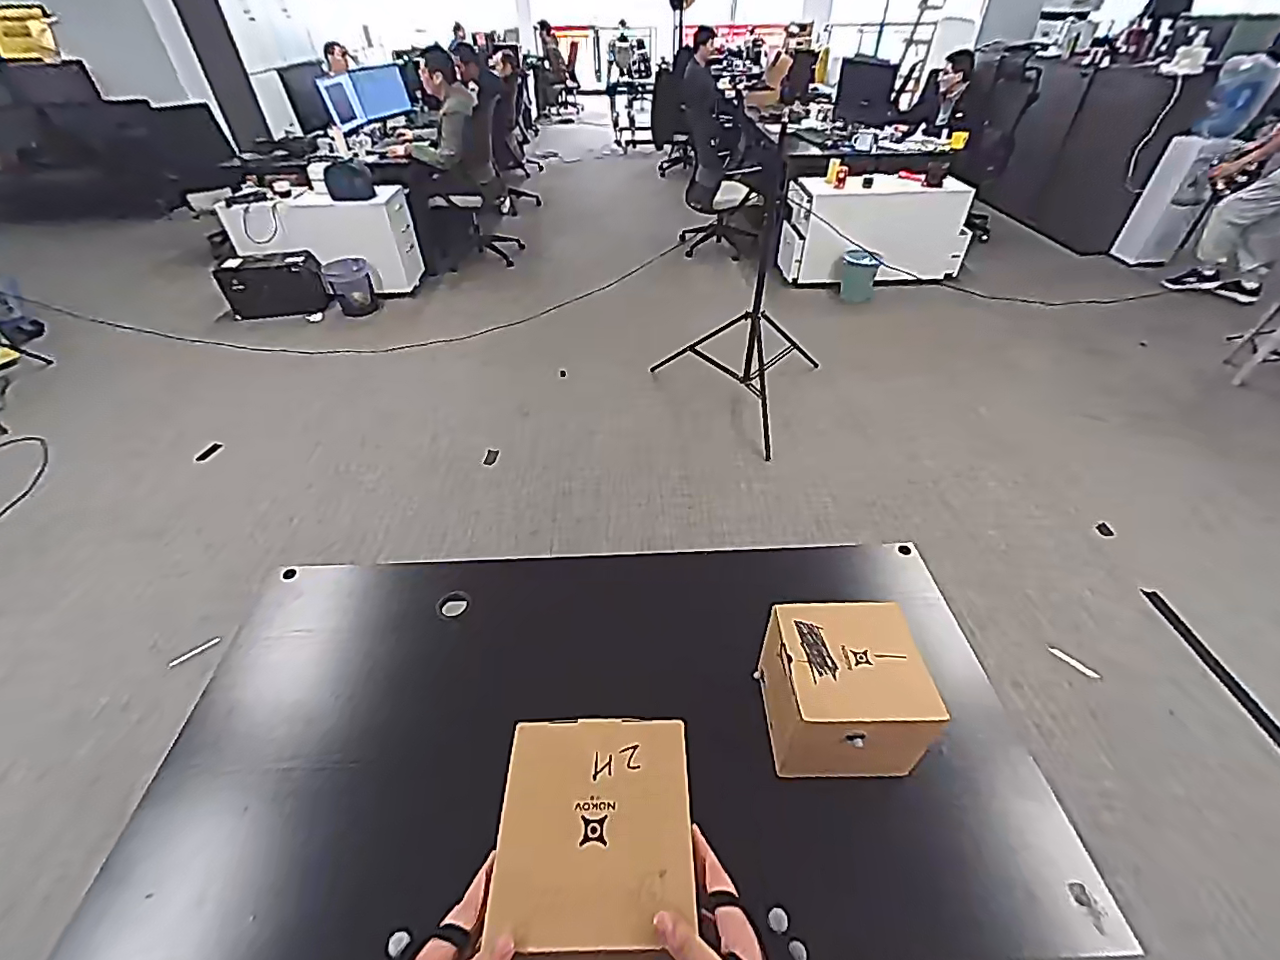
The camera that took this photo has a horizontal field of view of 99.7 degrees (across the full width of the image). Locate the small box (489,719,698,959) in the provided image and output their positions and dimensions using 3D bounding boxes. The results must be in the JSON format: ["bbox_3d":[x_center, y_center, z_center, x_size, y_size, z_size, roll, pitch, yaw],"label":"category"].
[{"bbox_3d":[-0.033,0.357,0.526,0.168,0.176,0.179,0,39,0],"label":"small box"}]

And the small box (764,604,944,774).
[{"bbox_3d":[0.274,0.289,0.747,0.179,0.176,0.168,-1,41,0],"label":"small box"}]
